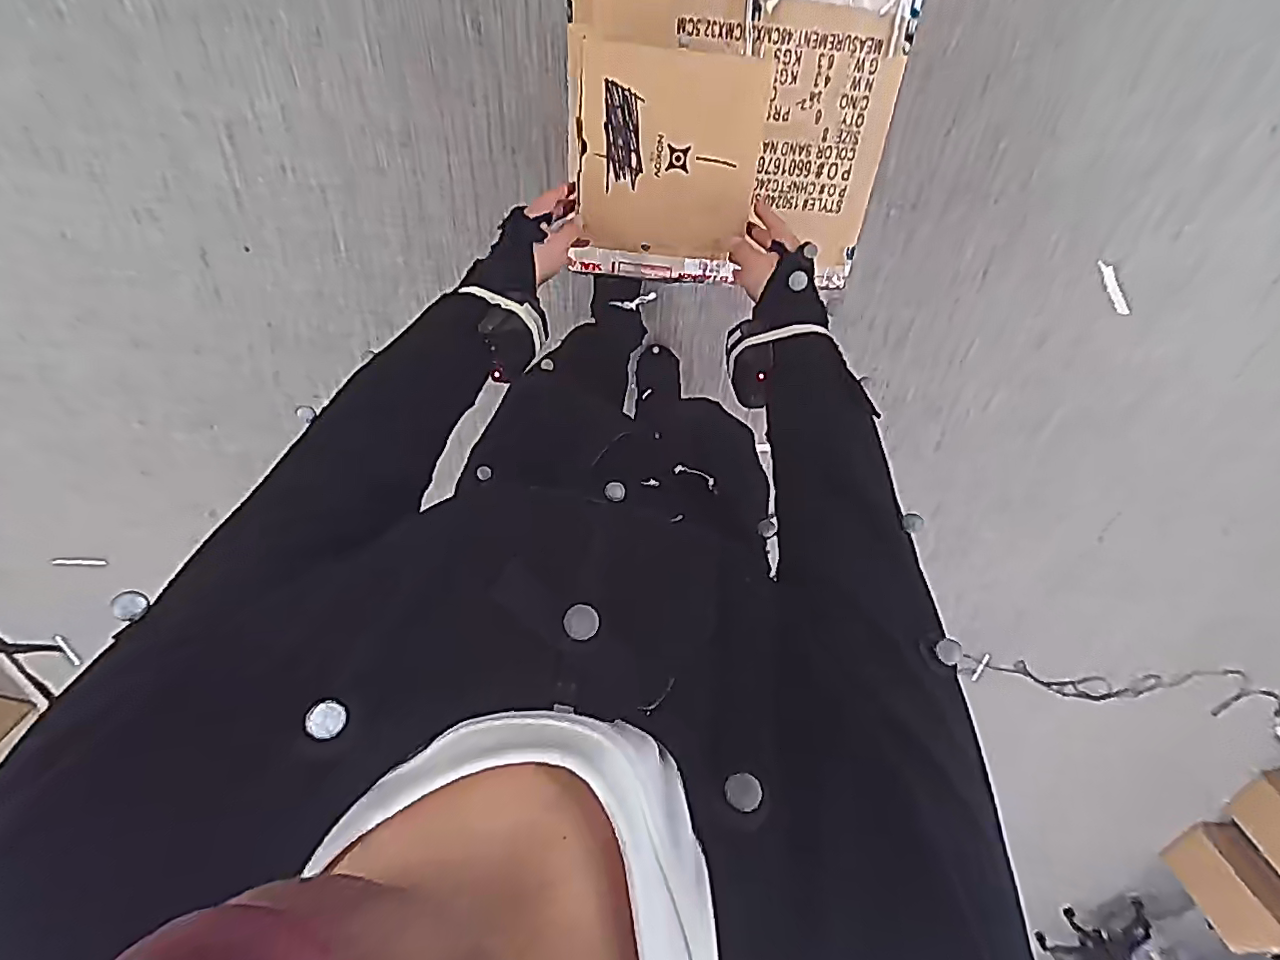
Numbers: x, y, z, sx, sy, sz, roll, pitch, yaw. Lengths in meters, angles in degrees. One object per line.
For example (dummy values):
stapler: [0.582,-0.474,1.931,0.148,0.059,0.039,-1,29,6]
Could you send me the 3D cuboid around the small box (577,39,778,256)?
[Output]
small box: [0.028,-0.356,0.586,0.179,0.176,0.168,4,125,-5]
